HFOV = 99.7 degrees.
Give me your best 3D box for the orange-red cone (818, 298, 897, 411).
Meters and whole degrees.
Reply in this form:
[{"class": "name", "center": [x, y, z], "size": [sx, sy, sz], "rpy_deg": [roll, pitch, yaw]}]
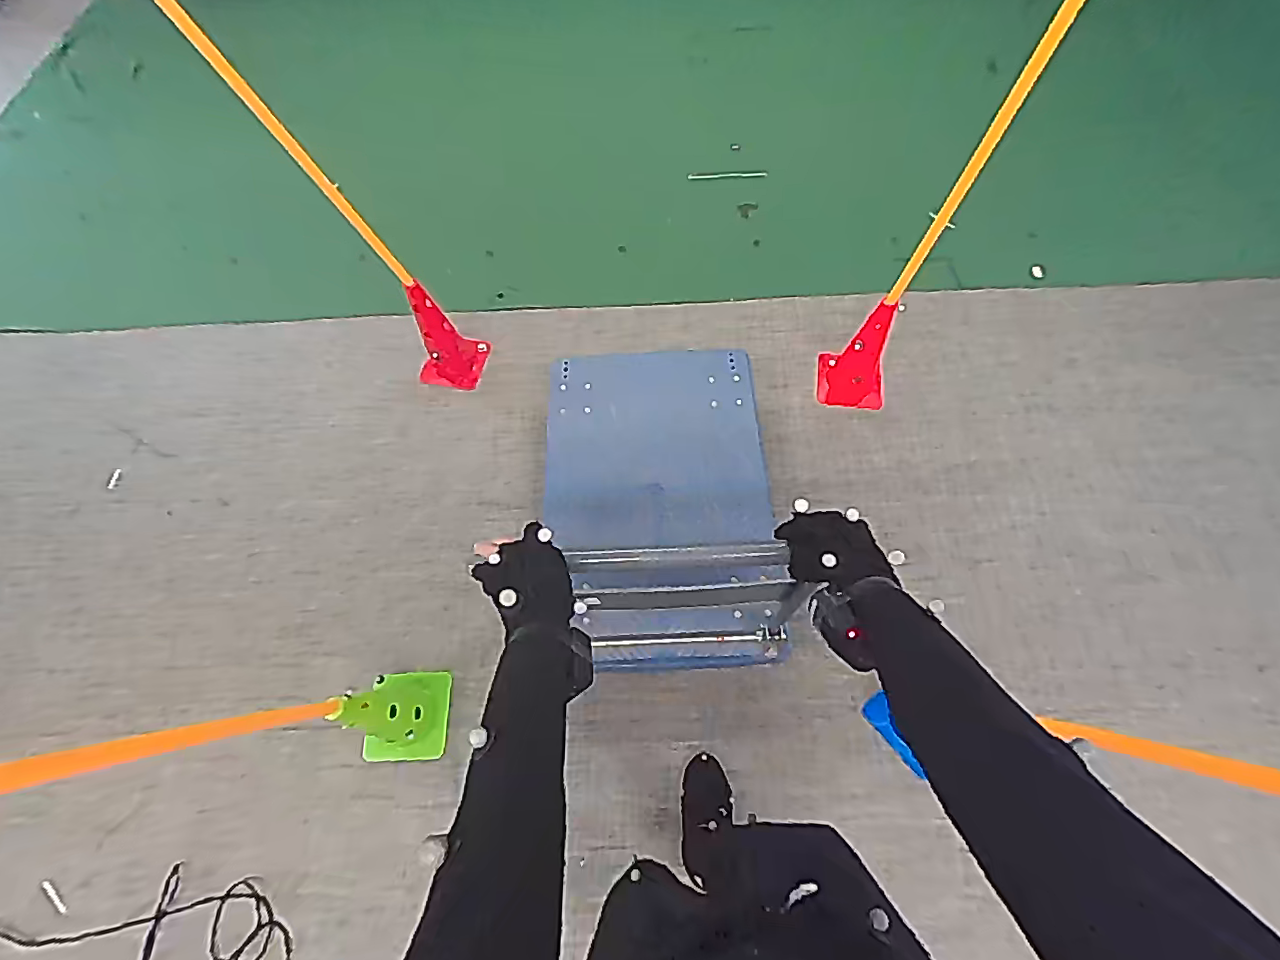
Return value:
[{"class": "orange-red cone", "center": [0.657, -0.379, 1.553], "size": [0.198, 0.360, 0.199], "rpy_deg": [8, 66, 7]}]
